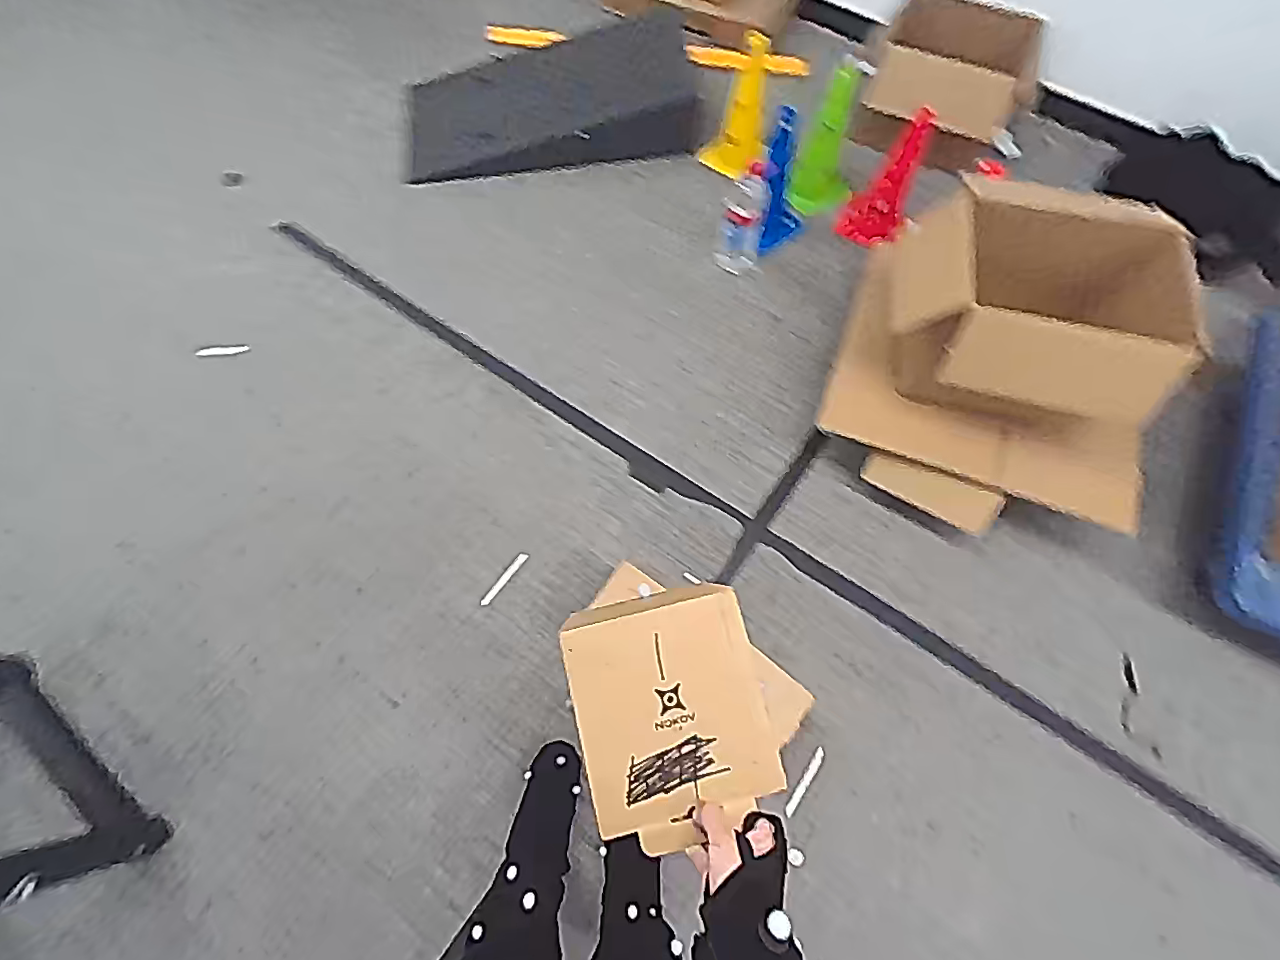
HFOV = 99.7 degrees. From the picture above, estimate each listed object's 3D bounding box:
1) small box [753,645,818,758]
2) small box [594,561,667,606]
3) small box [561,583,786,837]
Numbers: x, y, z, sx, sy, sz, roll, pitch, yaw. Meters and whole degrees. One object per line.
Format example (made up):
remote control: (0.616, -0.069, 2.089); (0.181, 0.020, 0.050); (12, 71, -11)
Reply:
small box: (0.231, 0.464, 1.124); (0.179, 0.176, 0.168); (39, 74, 13)
small box: (-0.010, 0.310, 1.183); (0.168, 0.176, 0.179); (34, 71, 11)
small box: (0.024, 0.209, 0.545); (0.168, 0.176, 0.179); (-13, 82, -6)
